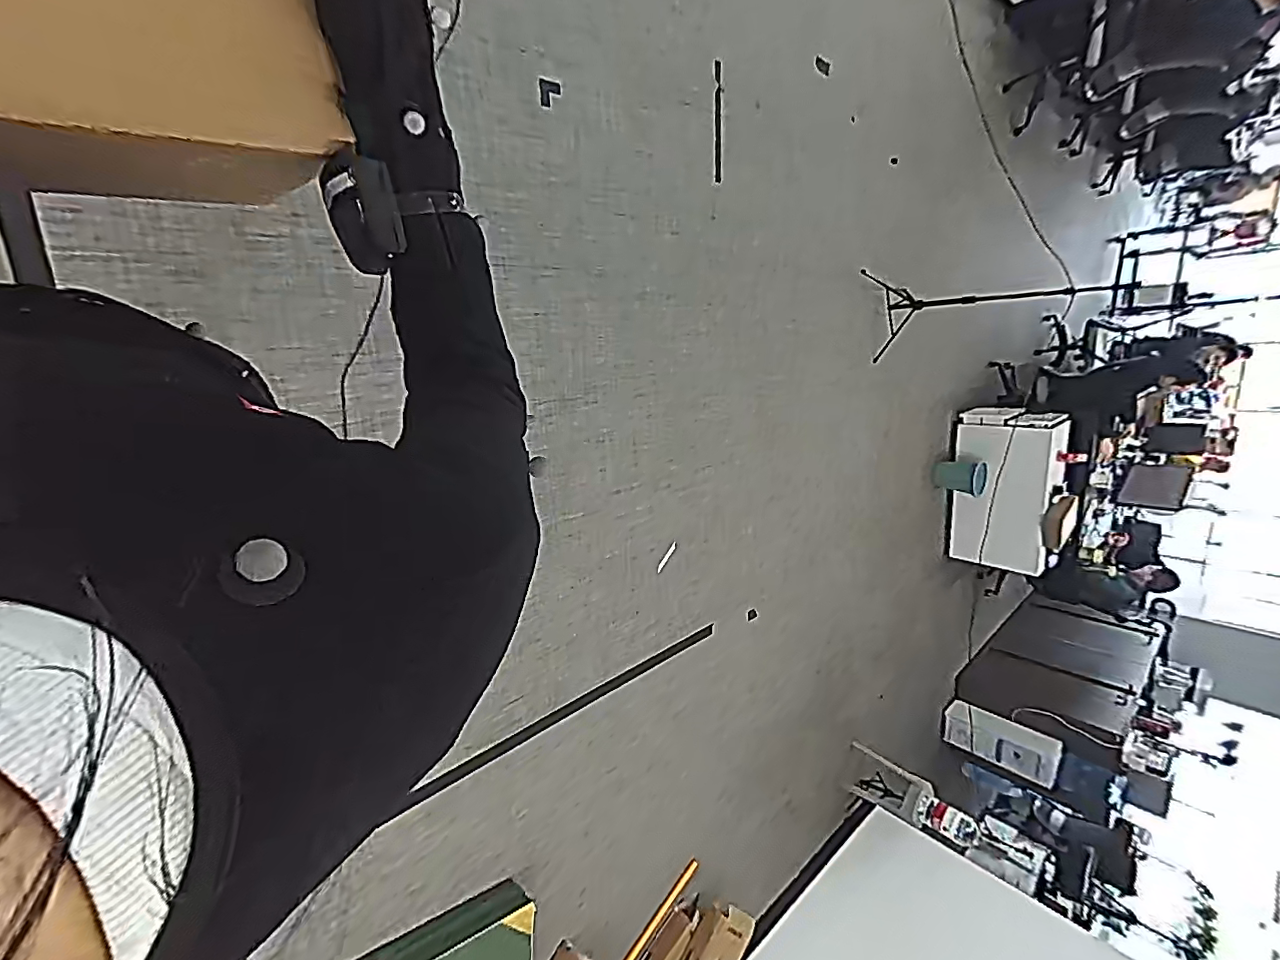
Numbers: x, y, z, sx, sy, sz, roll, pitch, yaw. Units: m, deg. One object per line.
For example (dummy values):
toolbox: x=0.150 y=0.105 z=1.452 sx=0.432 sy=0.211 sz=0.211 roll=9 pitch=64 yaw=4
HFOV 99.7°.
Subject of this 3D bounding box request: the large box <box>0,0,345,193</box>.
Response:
large box: x=-0.450 y=-0.352 z=0.289 sx=0.408 sy=0.320 sz=0.320 roll=-20 pitch=119 yaw=-40
